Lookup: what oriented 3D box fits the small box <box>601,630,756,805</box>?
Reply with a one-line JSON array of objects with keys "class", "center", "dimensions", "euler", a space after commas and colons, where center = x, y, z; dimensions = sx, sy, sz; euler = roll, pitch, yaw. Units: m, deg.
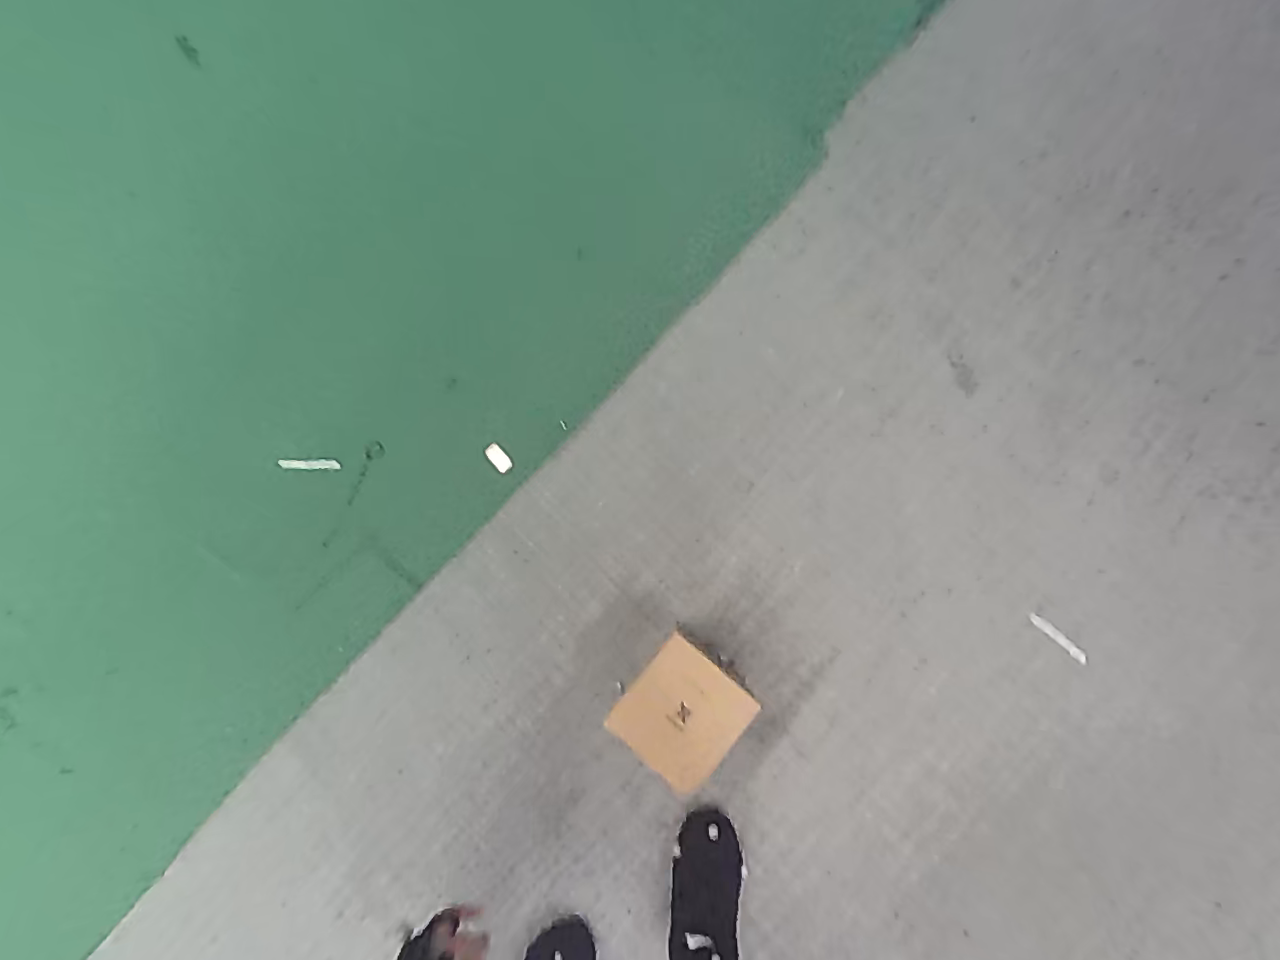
[{"class": "small box", "center": [0.062, 0.368, 0.876], "dimensions": [0.168, 0.176, 0.179], "euler": [40, 85, 8]}]
